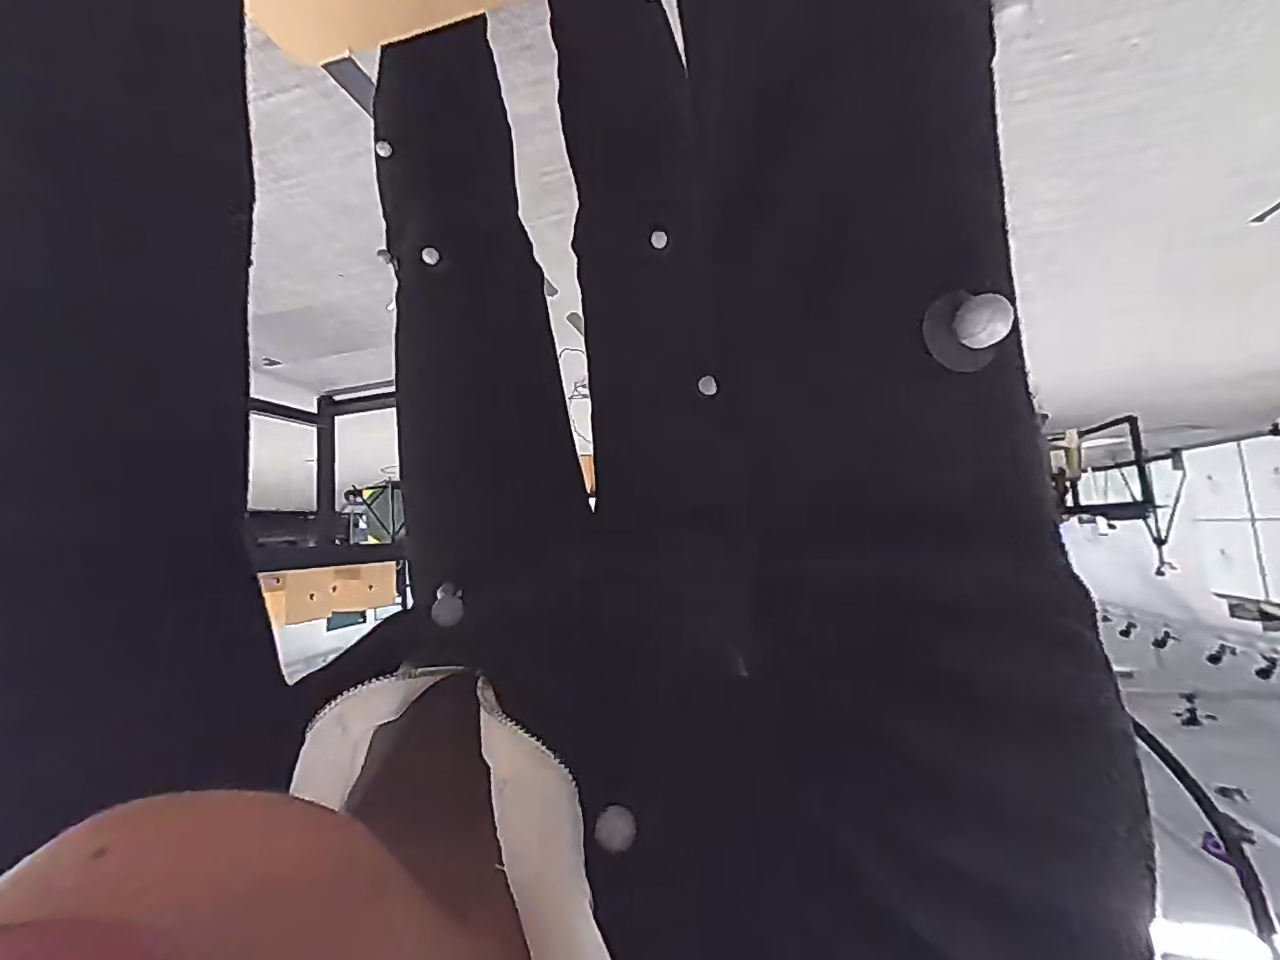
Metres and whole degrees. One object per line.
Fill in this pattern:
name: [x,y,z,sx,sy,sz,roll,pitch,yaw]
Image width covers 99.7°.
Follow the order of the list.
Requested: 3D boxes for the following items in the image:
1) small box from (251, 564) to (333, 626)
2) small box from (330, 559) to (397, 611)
small box: [-1.111,0.363,1.715,0.168,0.176,0.179,-5,175,14]
small box: [-1.027,0.386,1.997,0.168,0.176,0.179,-4,175,17]
